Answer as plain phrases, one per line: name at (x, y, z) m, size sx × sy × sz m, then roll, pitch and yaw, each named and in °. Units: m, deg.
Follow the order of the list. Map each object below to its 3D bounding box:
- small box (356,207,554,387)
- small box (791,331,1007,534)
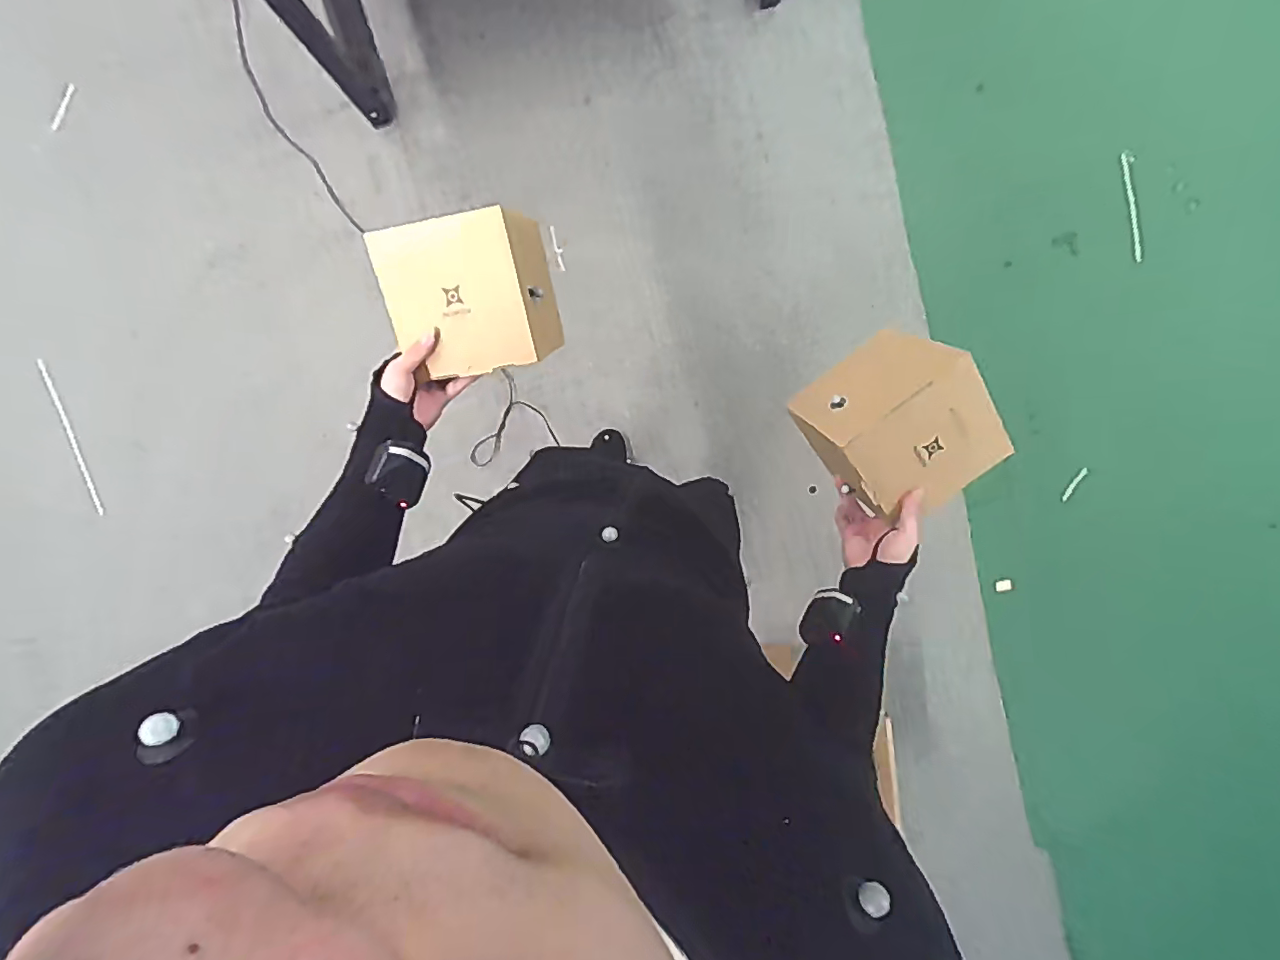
small box at (-0.219, -0.233, 0.694) m, size 0.168 × 0.176 × 0.179 m, roll -9°, pitch 112°, yaw 6°
small box at (0.324, -0.069, 0.713) m, size 0.179 × 0.176 × 0.168 m, roll -39°, pitch 117°, yaw 8°
